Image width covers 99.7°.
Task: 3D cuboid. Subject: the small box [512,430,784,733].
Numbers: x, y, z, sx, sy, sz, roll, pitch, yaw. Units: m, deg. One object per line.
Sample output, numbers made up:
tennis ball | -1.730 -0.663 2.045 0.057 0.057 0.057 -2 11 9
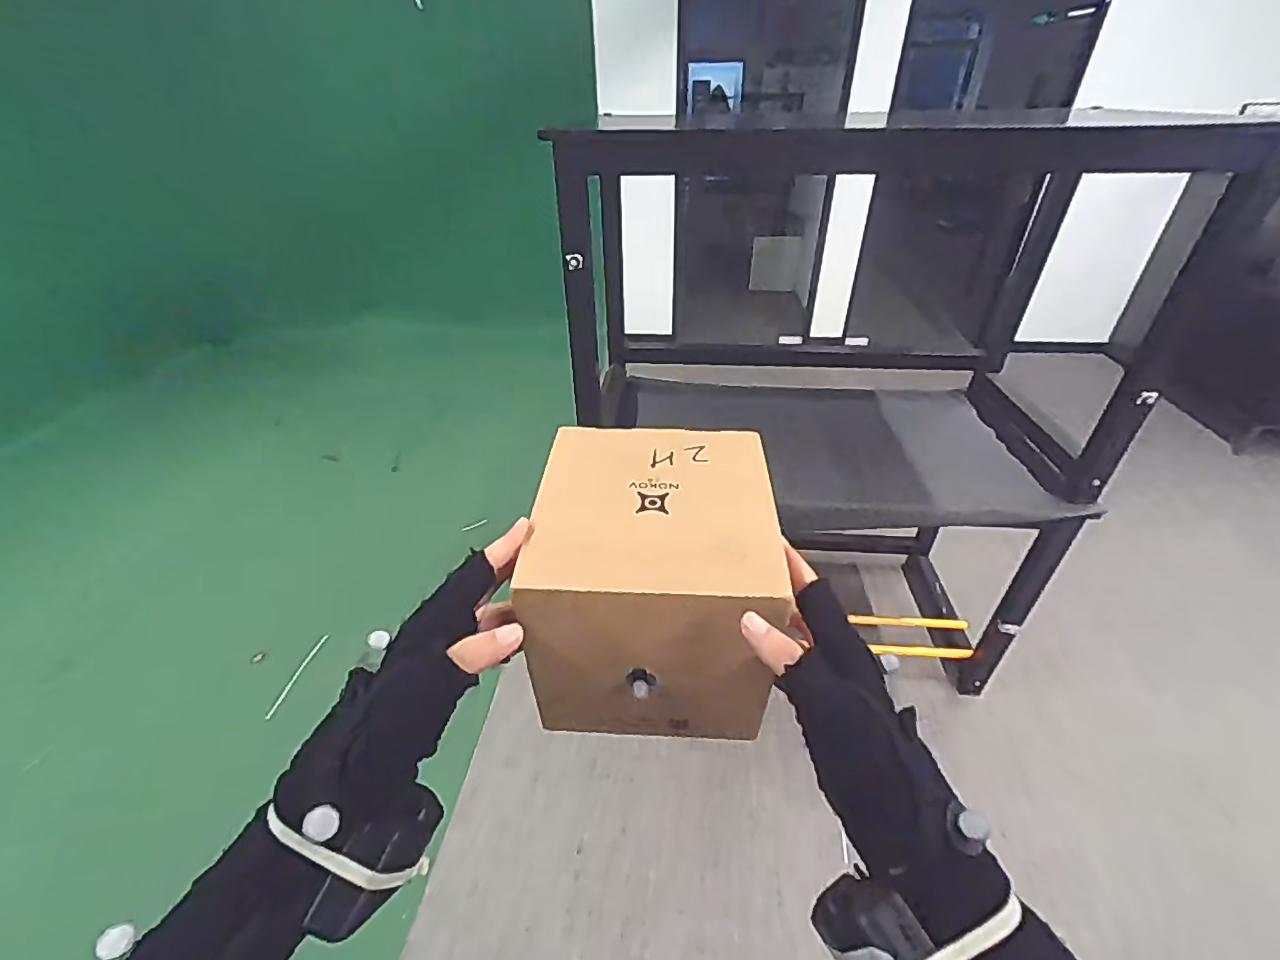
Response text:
small box | 0.011 0.077 0.430 0.168 0.176 0.179 2 37 3
